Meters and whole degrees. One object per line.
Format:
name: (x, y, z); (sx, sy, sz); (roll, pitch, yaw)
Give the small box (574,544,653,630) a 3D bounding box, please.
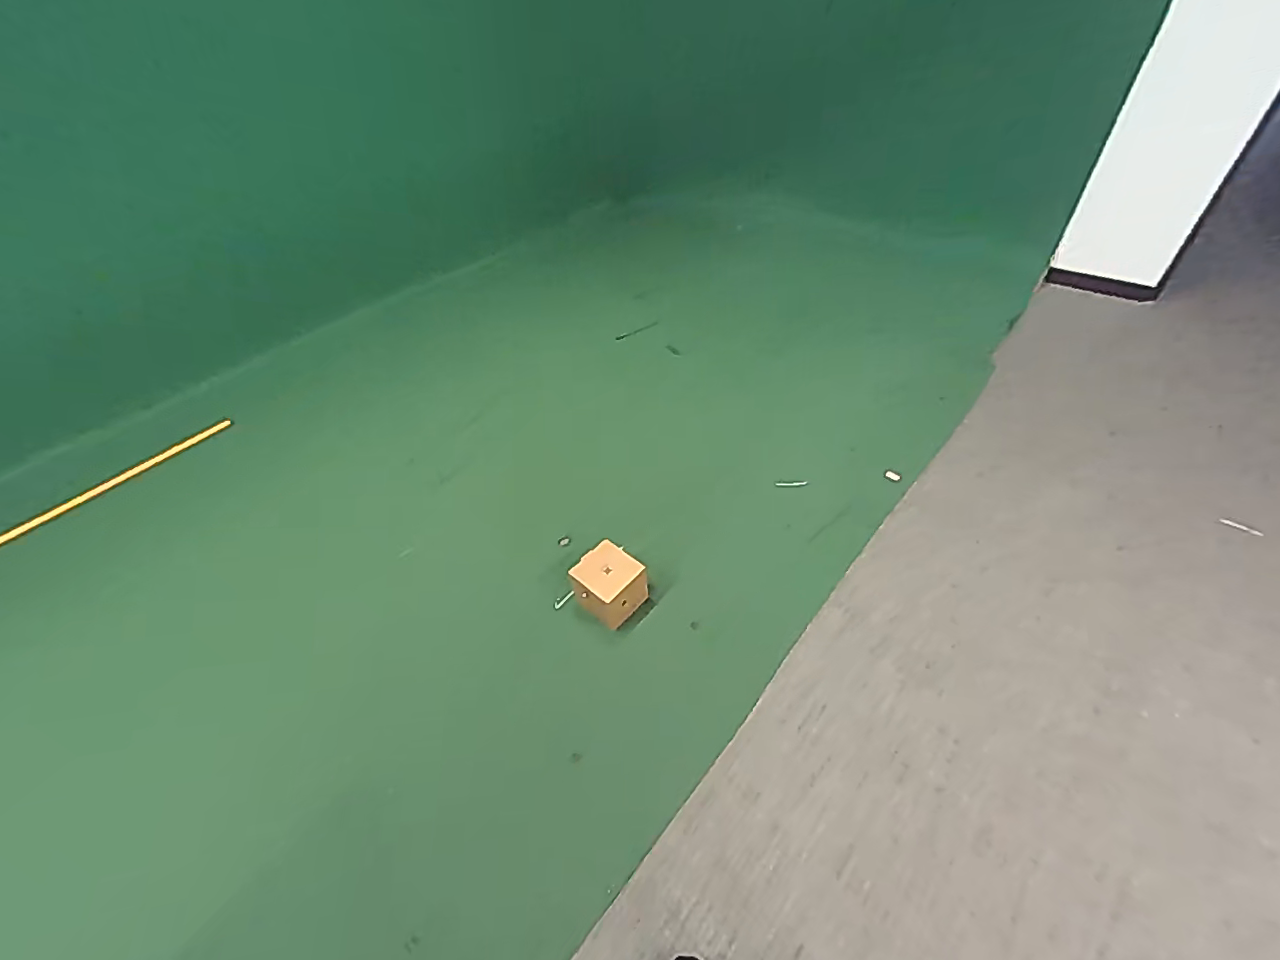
small box: (-0.076, 0.341, 1.687); (0.179, 0.176, 0.168); (29, 56, 33)
